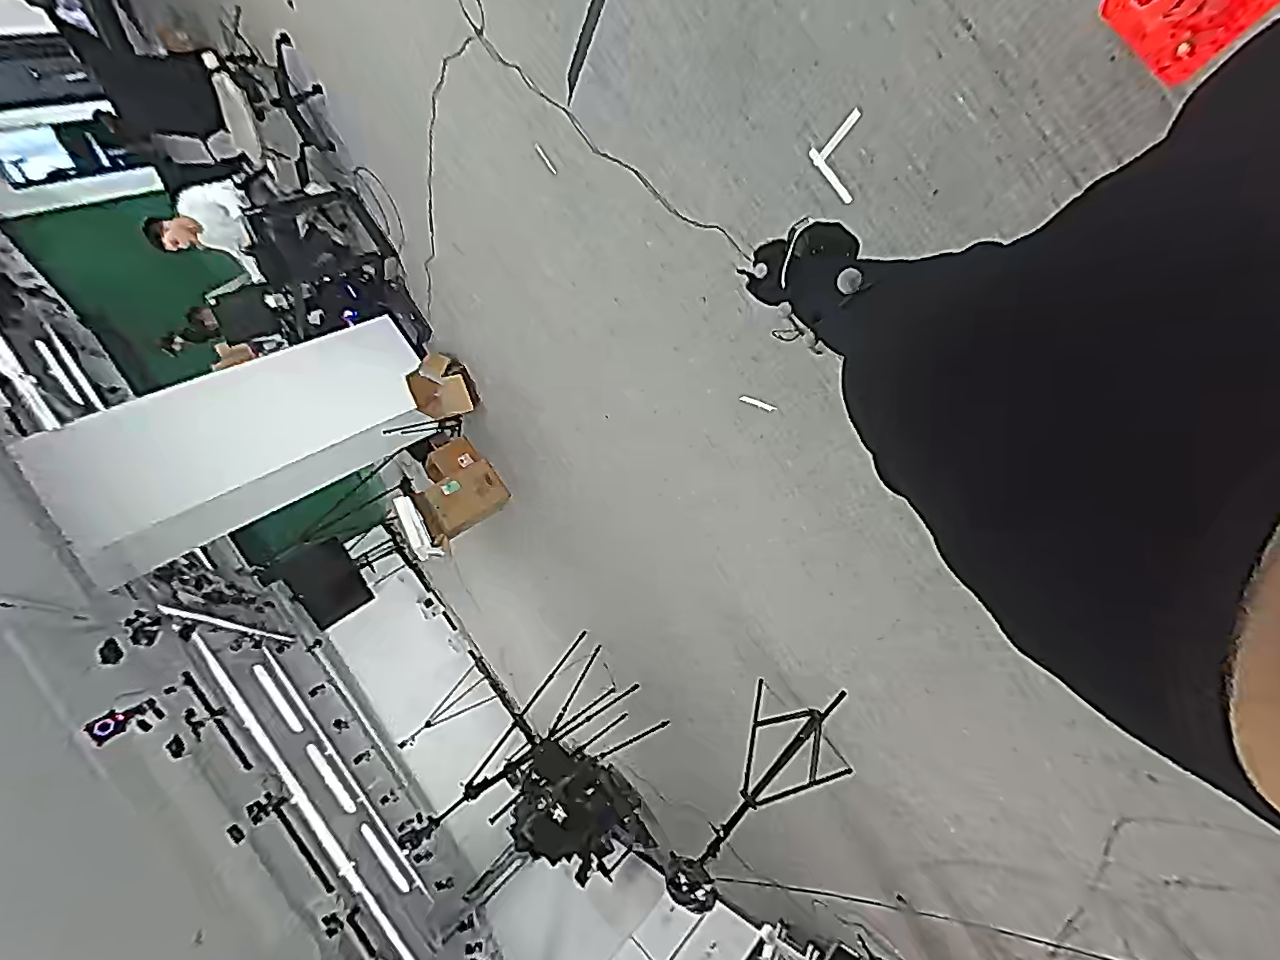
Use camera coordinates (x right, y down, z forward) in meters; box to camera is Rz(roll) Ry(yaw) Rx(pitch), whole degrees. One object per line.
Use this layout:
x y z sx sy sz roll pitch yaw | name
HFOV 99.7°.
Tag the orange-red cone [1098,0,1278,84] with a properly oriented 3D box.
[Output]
0.763 -0.701 0.768 0.198 0.360 0.199 53 148 4 | orange-red cone
